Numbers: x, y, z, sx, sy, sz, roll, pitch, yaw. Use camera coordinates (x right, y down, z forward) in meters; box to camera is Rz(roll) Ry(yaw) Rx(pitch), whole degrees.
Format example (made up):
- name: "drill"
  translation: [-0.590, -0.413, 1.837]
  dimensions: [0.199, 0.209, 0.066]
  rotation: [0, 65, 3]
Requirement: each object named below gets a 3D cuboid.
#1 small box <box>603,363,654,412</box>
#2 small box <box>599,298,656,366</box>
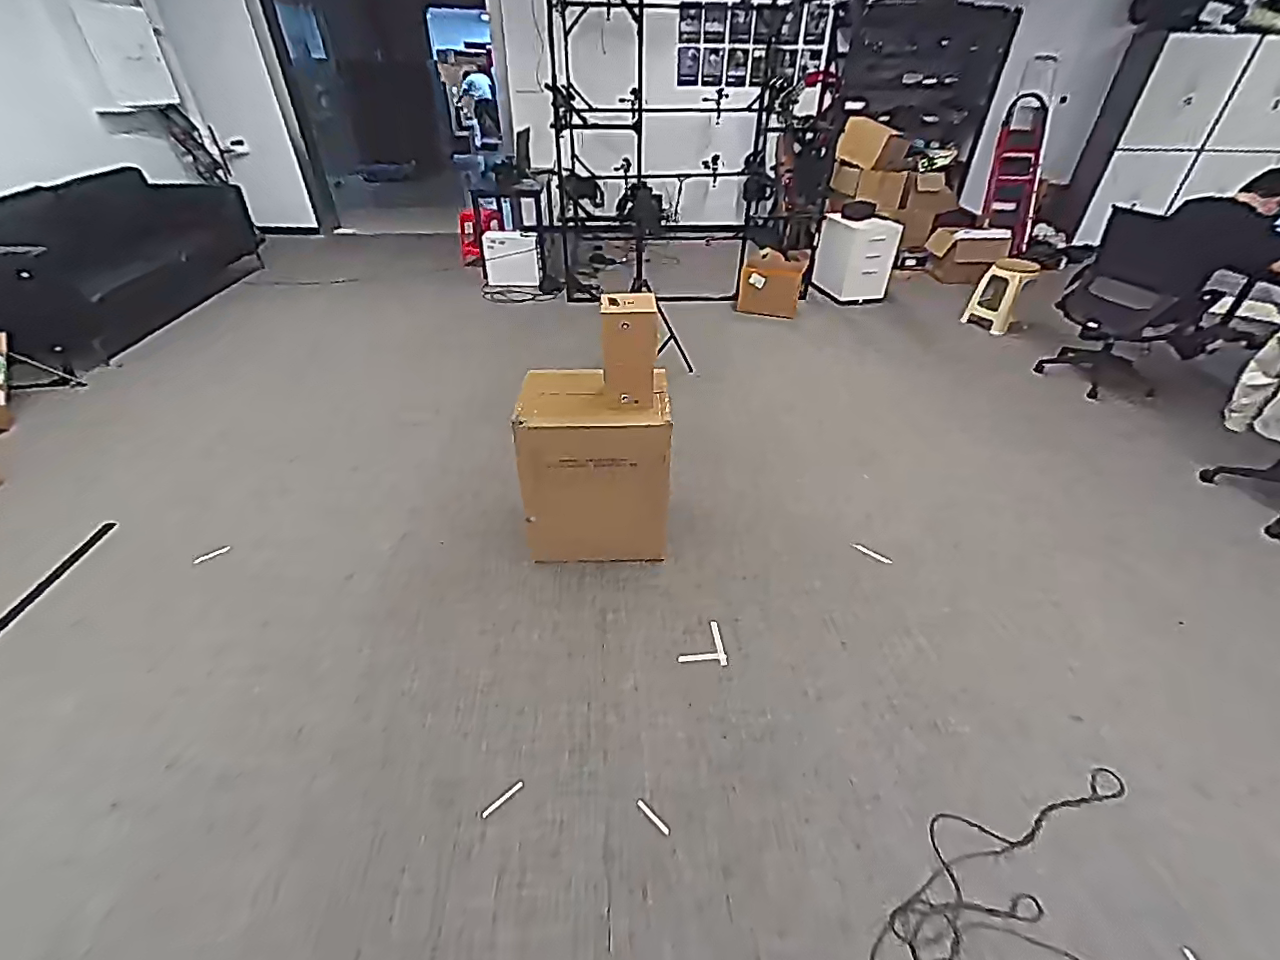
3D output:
- name: "small box"
  translation: [-0.040, -0.347, 1.849]
  dimensions: [0.168, 0.176, 0.179]
  rotation: [-3, 39, -1]
- name: "small box"
  translation: [-0.039, -0.478, 1.748]
  dimensions: [0.179, 0.176, 0.168]
  rotation: [-2, 38, -1]
